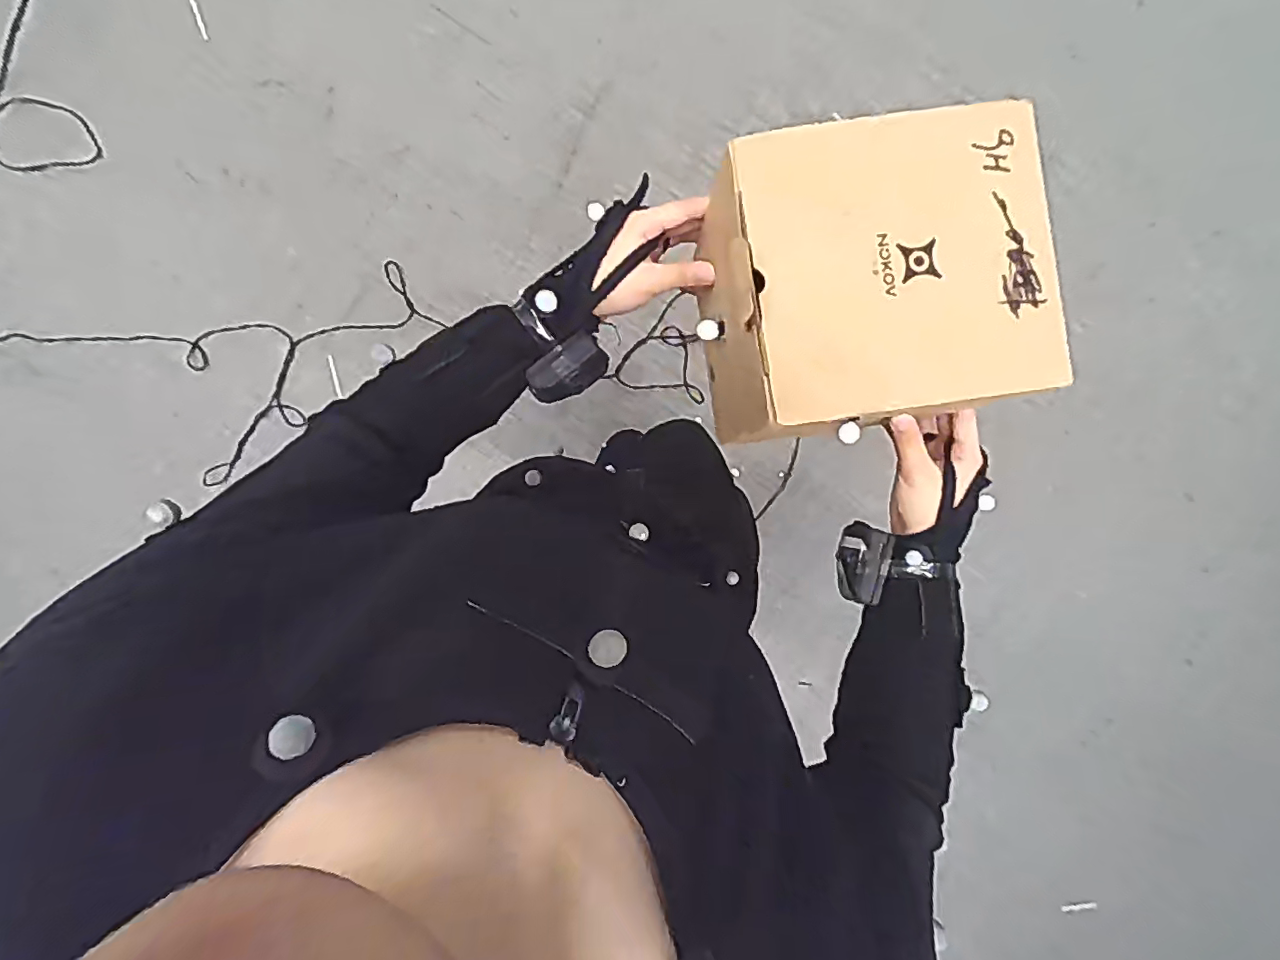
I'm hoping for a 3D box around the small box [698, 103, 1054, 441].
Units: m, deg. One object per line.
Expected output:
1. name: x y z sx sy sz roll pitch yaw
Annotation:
1. small box: 0.141 -0.125 0.391 0.179 0.176 0.168 -9 90 -1
